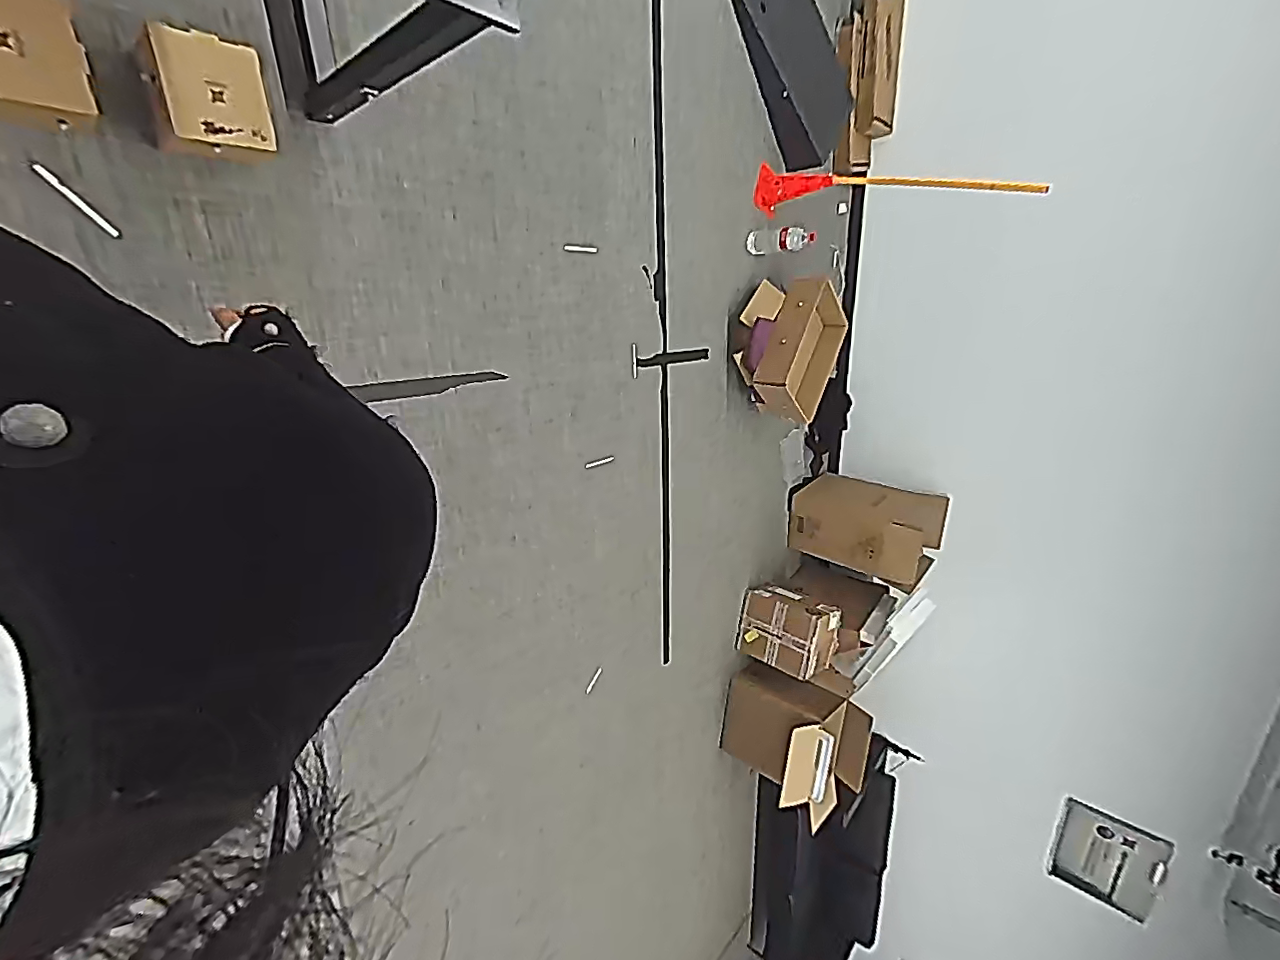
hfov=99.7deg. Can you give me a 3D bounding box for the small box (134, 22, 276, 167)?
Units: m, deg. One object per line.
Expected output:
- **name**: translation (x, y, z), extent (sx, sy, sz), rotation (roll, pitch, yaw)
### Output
- **small box**: translation (-0.850, -0.737, 1.057), extent (0.168, 0.176, 0.179), rotation (-21, 116, -44)

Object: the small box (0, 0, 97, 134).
- **small box**: translation (-1.027, -0.679, 0.871), extent (0.179, 0.176, 0.168), rotation (-19, 115, -44)
